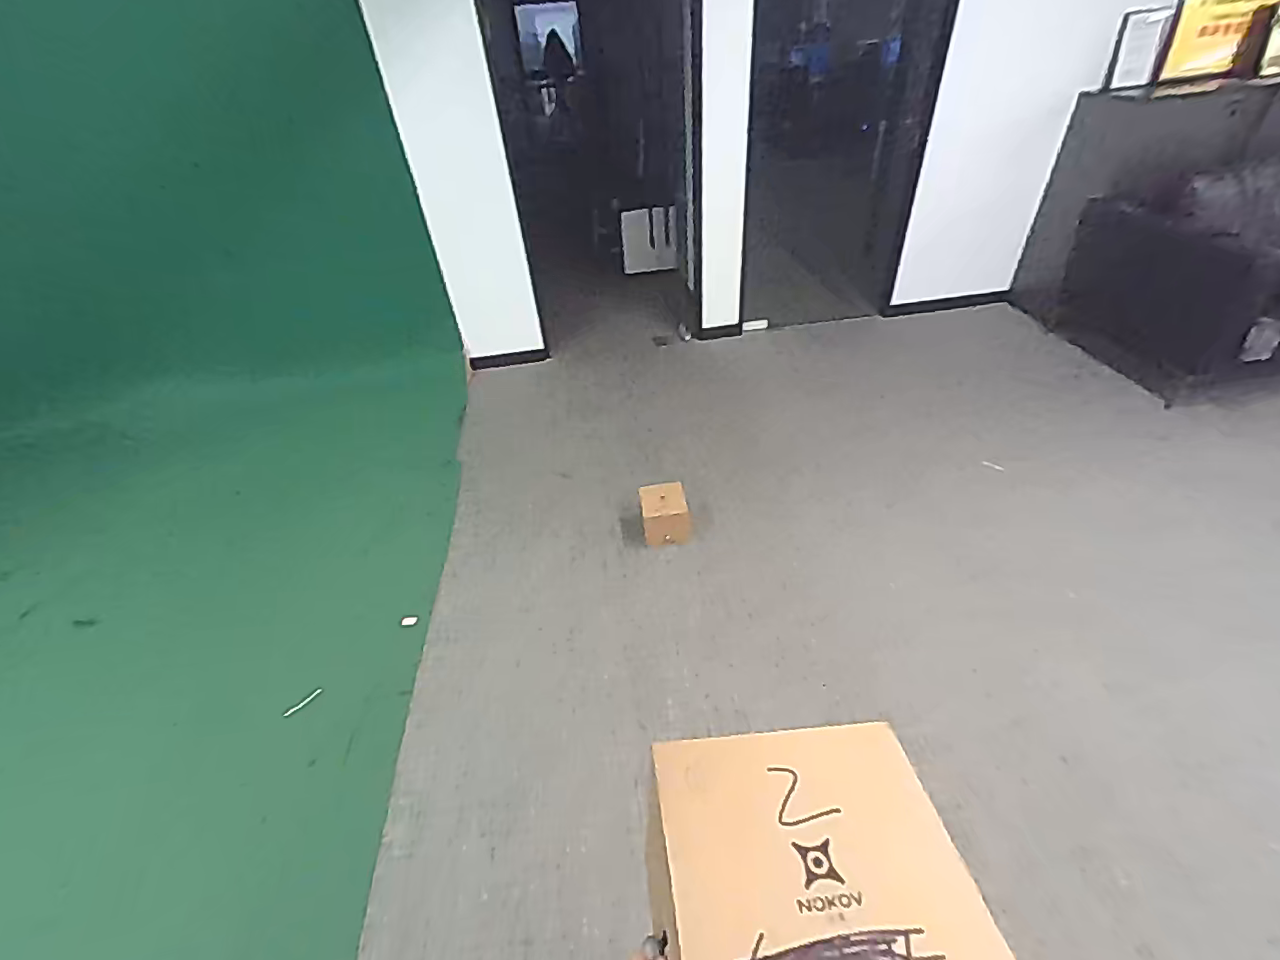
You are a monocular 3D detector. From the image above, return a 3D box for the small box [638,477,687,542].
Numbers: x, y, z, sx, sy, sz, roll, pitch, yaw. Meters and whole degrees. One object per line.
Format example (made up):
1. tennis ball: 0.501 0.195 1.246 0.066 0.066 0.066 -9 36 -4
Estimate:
1. small box: 0.086 0.115 2.071 0.168 0.176 0.179 -7 41 -2
